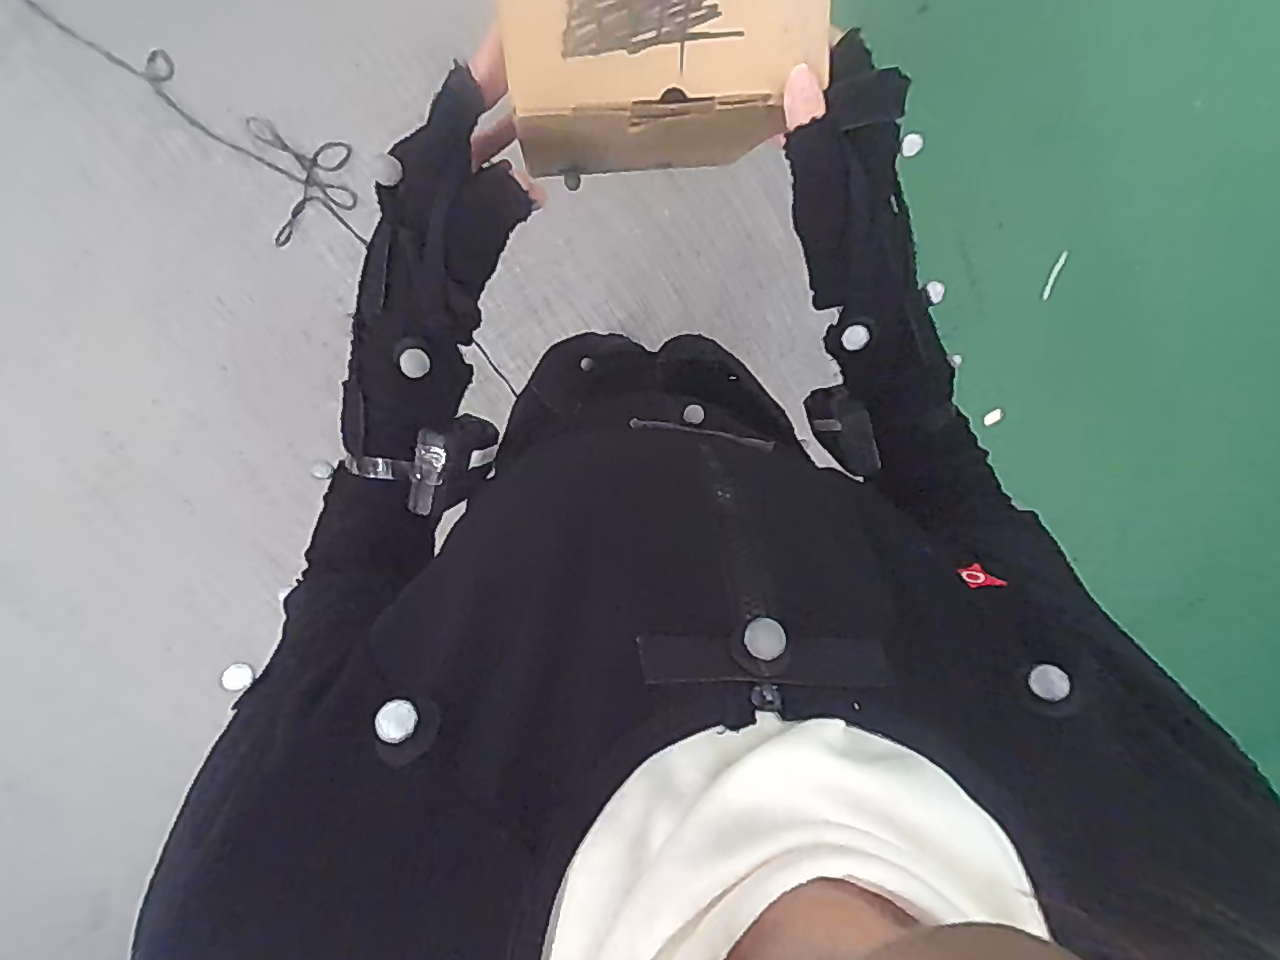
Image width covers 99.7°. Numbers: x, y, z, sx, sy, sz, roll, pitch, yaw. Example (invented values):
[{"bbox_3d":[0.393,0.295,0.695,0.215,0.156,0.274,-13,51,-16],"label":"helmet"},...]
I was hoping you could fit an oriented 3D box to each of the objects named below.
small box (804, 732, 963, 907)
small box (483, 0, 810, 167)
[{"bbox_3d":[0.426,0.598,0.971,0.168,0.176,0.179,-33,105,6],"label":"small box"},{"bbox_3d":[-0.008,-0.304,0.327,0.168,0.176,0.179,-7,108,-6],"label":"small box"}]
